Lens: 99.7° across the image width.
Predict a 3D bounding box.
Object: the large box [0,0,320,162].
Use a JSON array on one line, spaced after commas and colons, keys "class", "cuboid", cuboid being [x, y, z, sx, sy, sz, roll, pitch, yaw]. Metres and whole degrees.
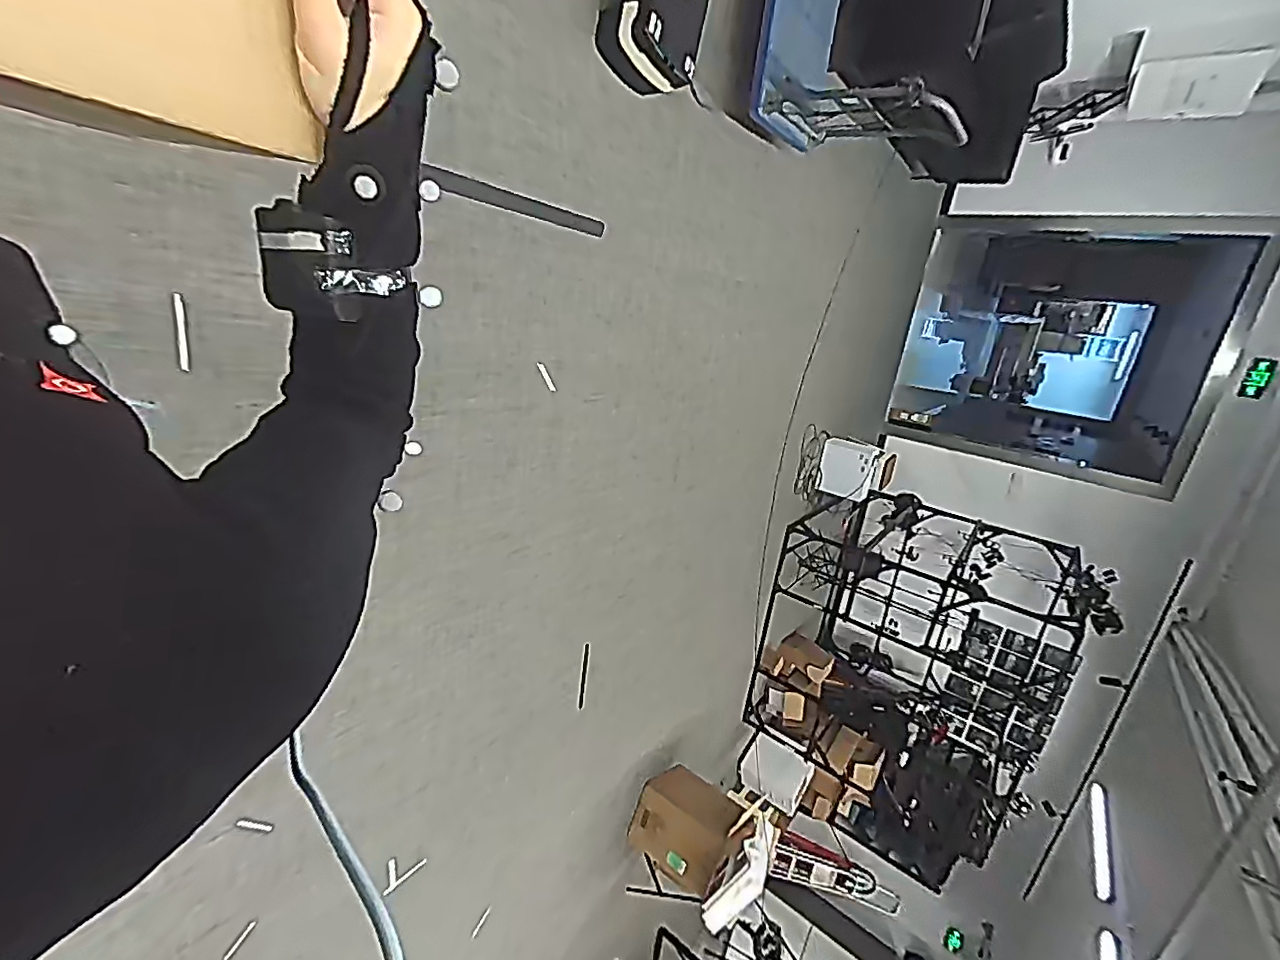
[{"class": "large box", "cuboid": [-0.393, -0.339, 0.177, 0.408, 0.320, 0.320, -19, 127, -55]}]
